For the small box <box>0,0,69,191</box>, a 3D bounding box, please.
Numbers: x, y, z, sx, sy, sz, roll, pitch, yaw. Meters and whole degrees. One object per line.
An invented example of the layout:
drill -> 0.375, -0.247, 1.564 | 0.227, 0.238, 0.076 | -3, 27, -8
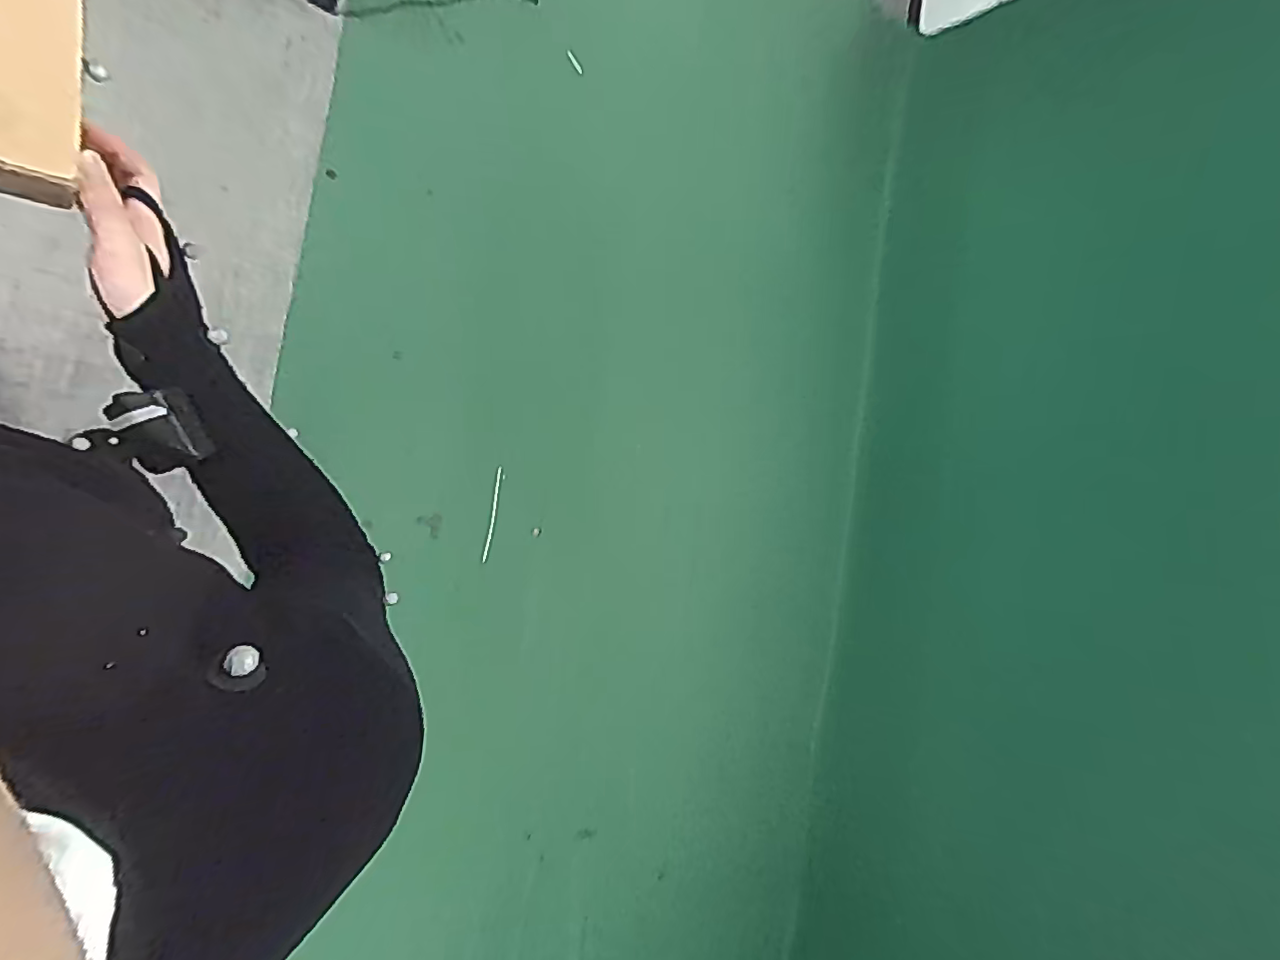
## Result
small box -> -0.454, -0.292, 0.314 | 0.168, 0.176, 0.179 | 0, 103, -48
